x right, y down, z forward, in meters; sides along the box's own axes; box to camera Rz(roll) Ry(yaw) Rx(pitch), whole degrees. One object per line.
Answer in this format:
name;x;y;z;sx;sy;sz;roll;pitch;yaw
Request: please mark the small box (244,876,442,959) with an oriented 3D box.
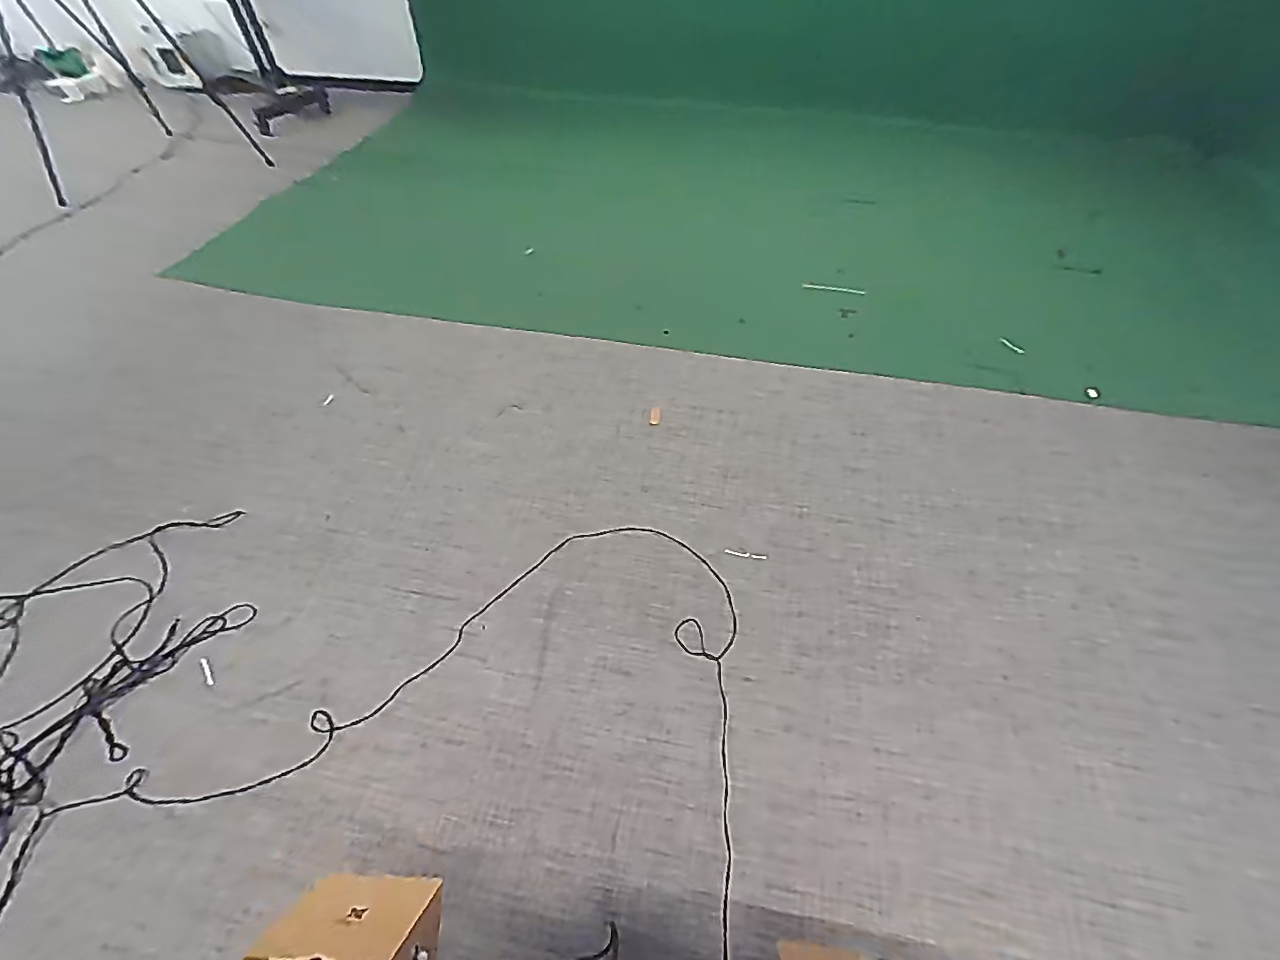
small box;-0.362;0.627;0.662;0.168;0.179;0.176;2;81;1
